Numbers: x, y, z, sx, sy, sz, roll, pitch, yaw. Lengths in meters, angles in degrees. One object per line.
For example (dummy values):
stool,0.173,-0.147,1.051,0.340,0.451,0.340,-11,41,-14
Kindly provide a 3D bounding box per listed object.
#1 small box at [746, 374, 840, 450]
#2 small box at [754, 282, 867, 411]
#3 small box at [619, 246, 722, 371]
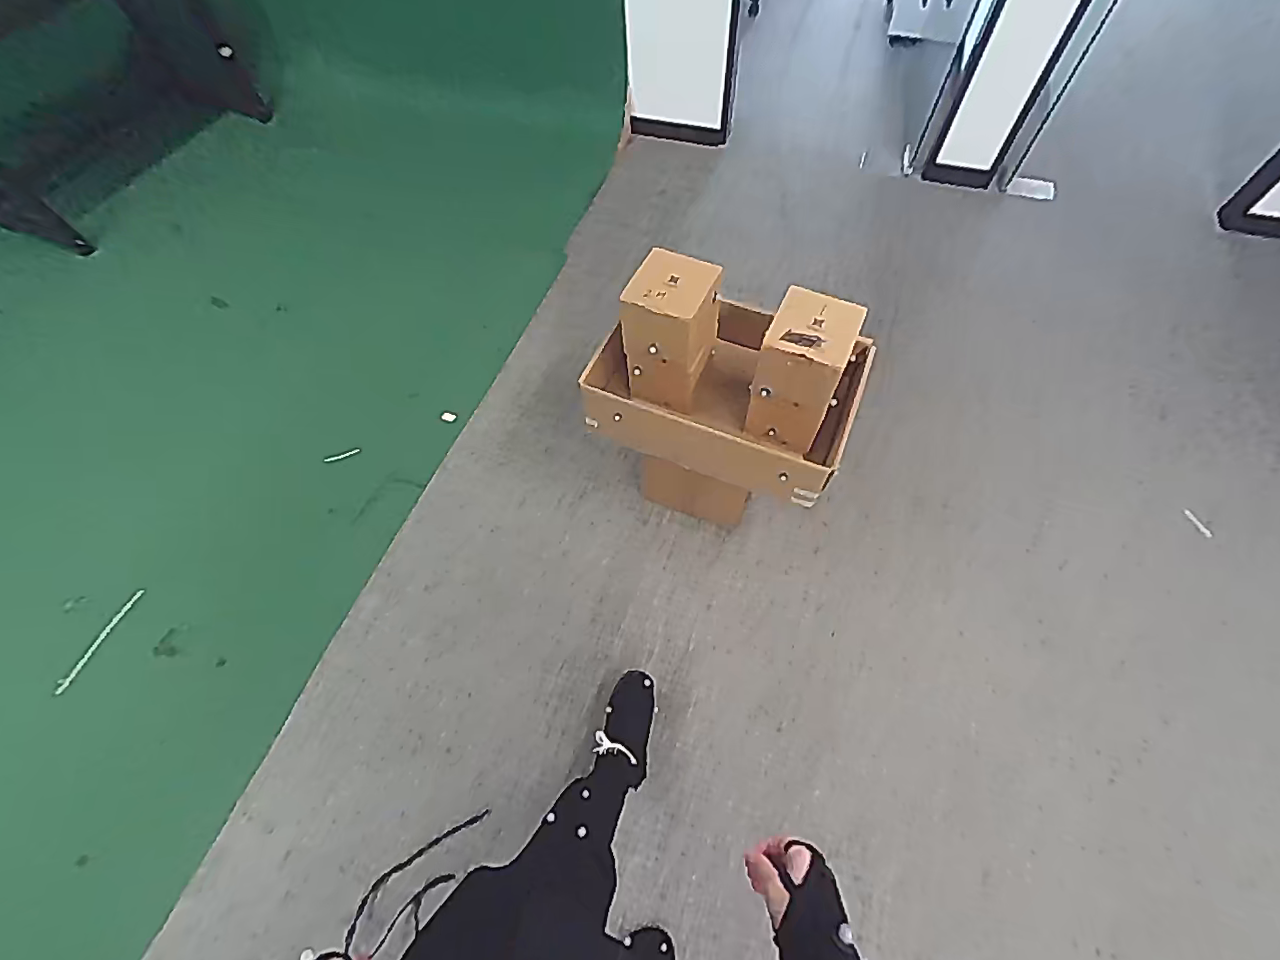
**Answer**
small box,0.360,-0.202,1.280,0.168,0.176,0.179,20,66,13
small box,0.347,-0.273,1.132,0.168,0.176,0.179,22,66,13
small box,0.068,-0.378,1.203,0.168,0.176,0.179,22,65,15
